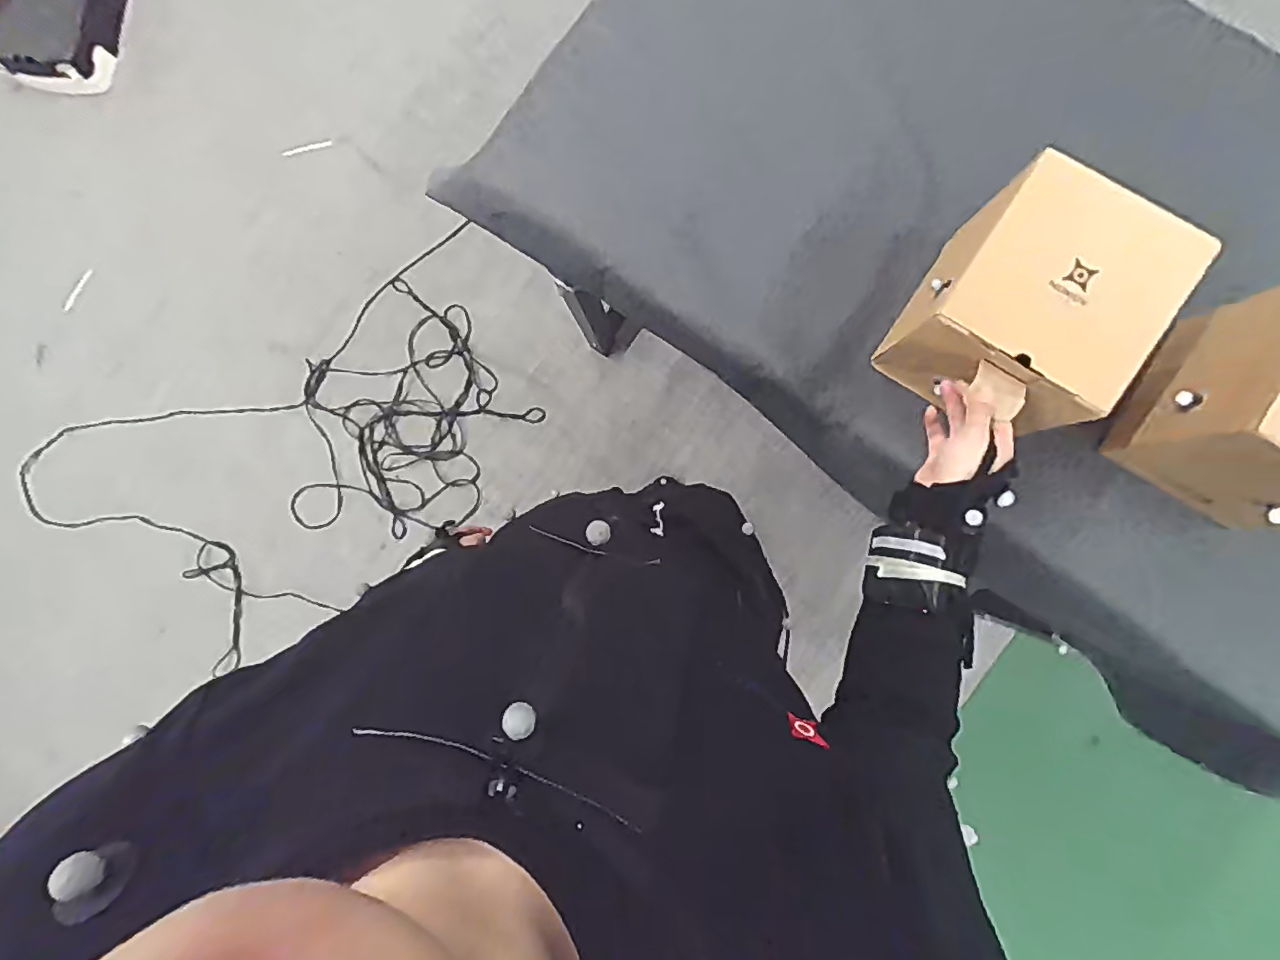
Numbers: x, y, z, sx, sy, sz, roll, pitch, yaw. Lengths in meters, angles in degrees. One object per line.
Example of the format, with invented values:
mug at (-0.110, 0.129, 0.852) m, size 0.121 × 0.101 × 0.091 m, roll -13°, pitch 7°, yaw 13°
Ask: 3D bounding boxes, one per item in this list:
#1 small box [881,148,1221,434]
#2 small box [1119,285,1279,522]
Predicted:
small box at (0.373, -0.164, 0.531) m, size 0.168 × 0.176 × 0.179 m, roll 32°, pitch 91°, yaw 4°
small box at (0.621, -0.068, 0.513) m, size 0.168 × 0.176 × 0.179 m, roll 31°, pitch 89°, yaw 3°
